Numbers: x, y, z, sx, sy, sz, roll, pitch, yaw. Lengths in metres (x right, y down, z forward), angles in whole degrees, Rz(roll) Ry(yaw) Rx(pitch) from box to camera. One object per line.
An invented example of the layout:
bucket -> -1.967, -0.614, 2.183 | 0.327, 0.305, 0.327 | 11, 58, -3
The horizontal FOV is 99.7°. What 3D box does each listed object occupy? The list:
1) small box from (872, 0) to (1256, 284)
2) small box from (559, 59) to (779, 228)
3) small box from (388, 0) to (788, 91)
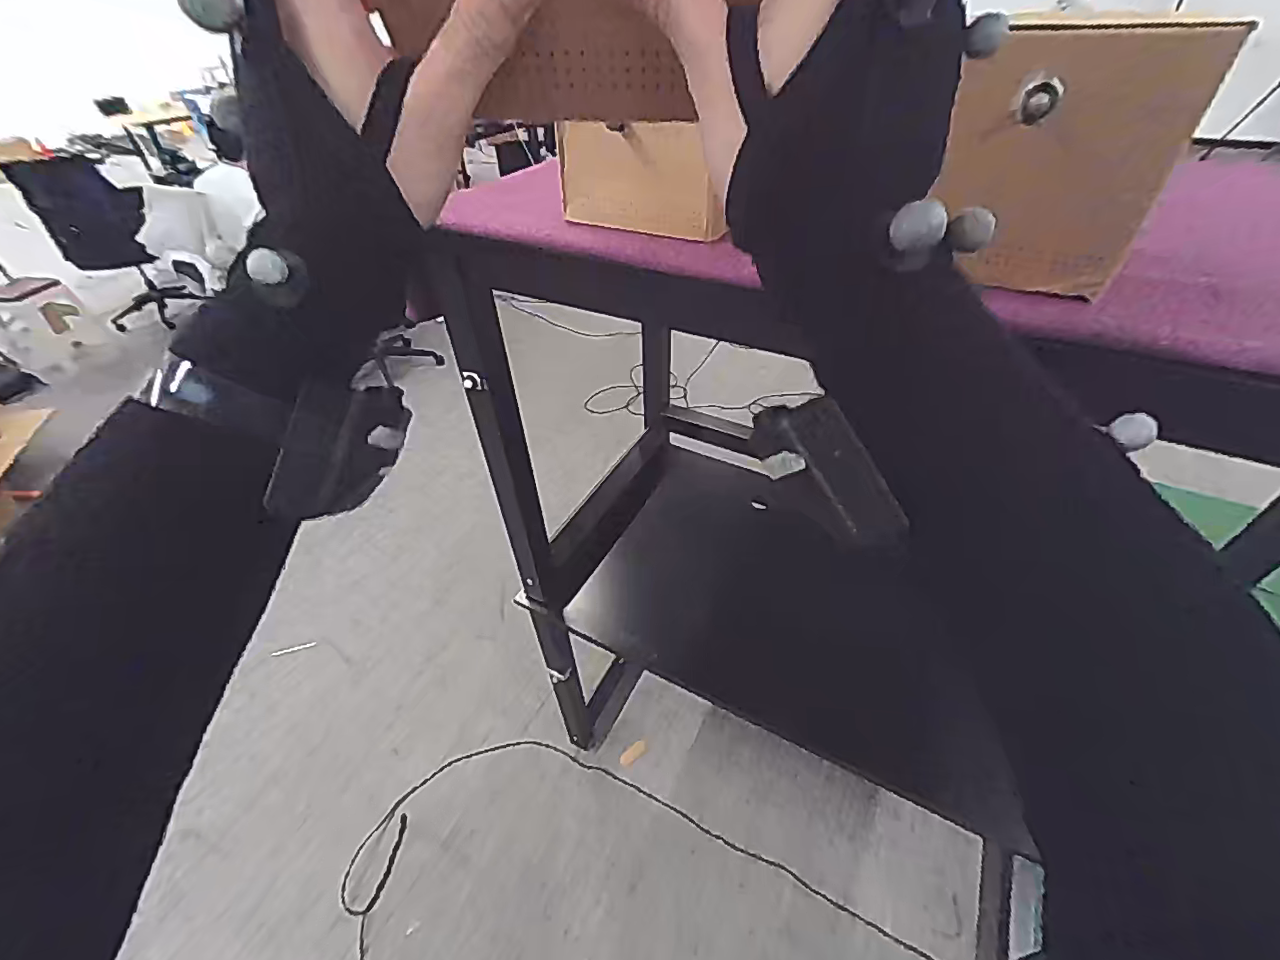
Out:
small box -> 0.304, -0.273, 0.432 | 0.179, 0.176, 0.168 | 19, 46, 22
small box -> 0.029, -0.370, 0.552 | 0.179, 0.176, 0.168 | 18, 45, 22
small box -> -0.021, -0.283, 0.203 | 0.179, 0.176, 0.168 | 3, 71, 4
